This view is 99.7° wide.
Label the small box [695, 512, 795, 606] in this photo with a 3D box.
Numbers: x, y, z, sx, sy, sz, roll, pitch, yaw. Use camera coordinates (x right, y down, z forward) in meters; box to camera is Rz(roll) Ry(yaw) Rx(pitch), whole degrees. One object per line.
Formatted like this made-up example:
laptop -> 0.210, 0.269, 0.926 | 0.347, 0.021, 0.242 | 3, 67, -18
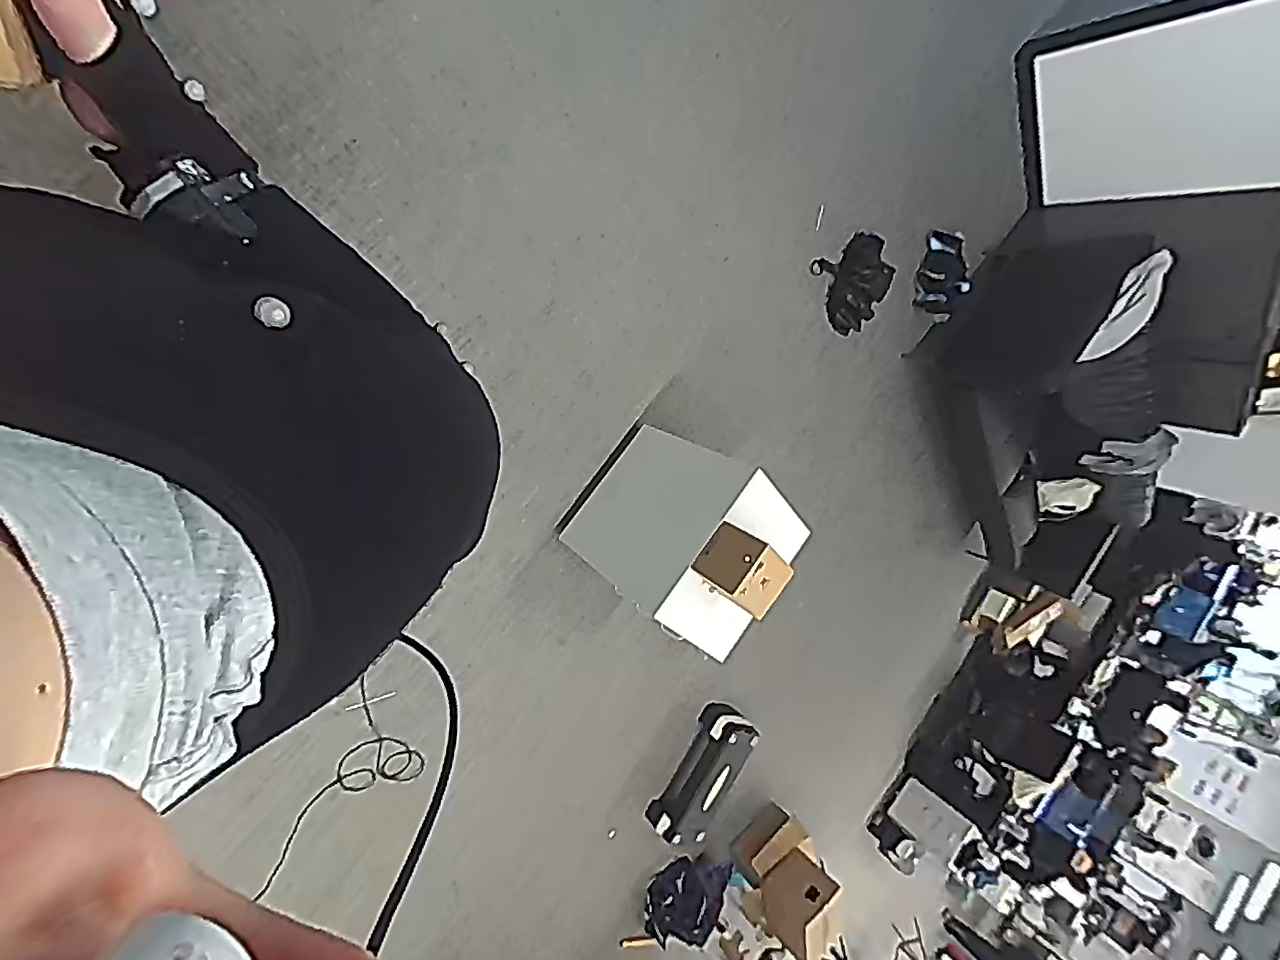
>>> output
small box -> 0.286, 0.211, 1.477 | 0.168, 0.176, 0.179 | -55, 132, -8
